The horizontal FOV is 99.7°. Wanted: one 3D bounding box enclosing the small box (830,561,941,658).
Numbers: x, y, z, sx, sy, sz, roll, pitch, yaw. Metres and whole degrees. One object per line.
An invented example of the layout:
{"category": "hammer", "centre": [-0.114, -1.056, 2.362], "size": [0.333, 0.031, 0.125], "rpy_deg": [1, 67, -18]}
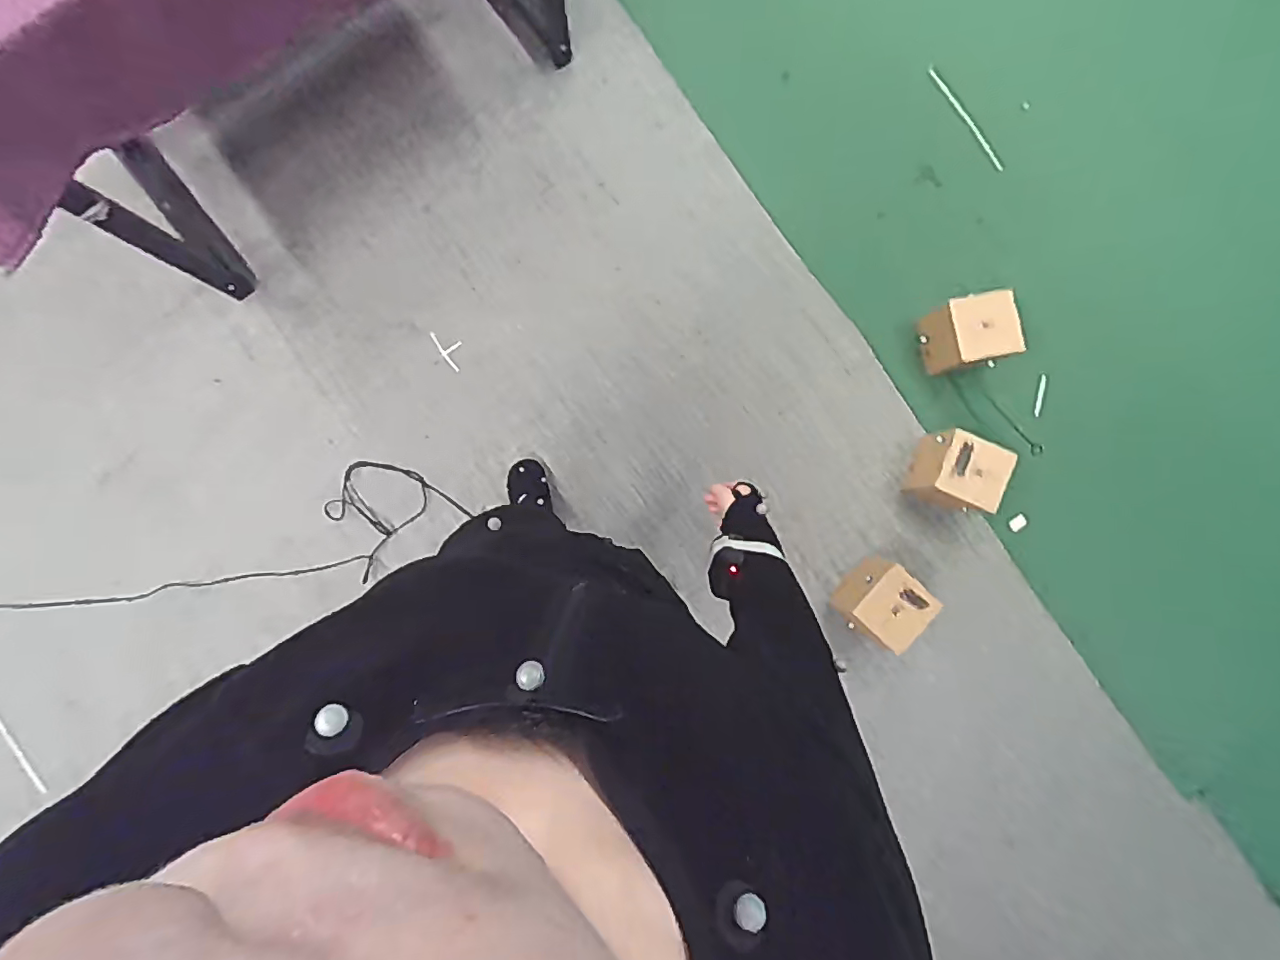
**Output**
{"category": "small box", "centre": [0.641, 0.333, 1.436], "size": [0.168, 0.176, 0.179], "rpy_deg": [44, 87, 1]}

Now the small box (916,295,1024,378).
{"category": "small box", "centre": [0.898, -0.388, 1.483], "size": [0.179, 0.176, 0.168], "rpy_deg": [-10, 87, -2]}
